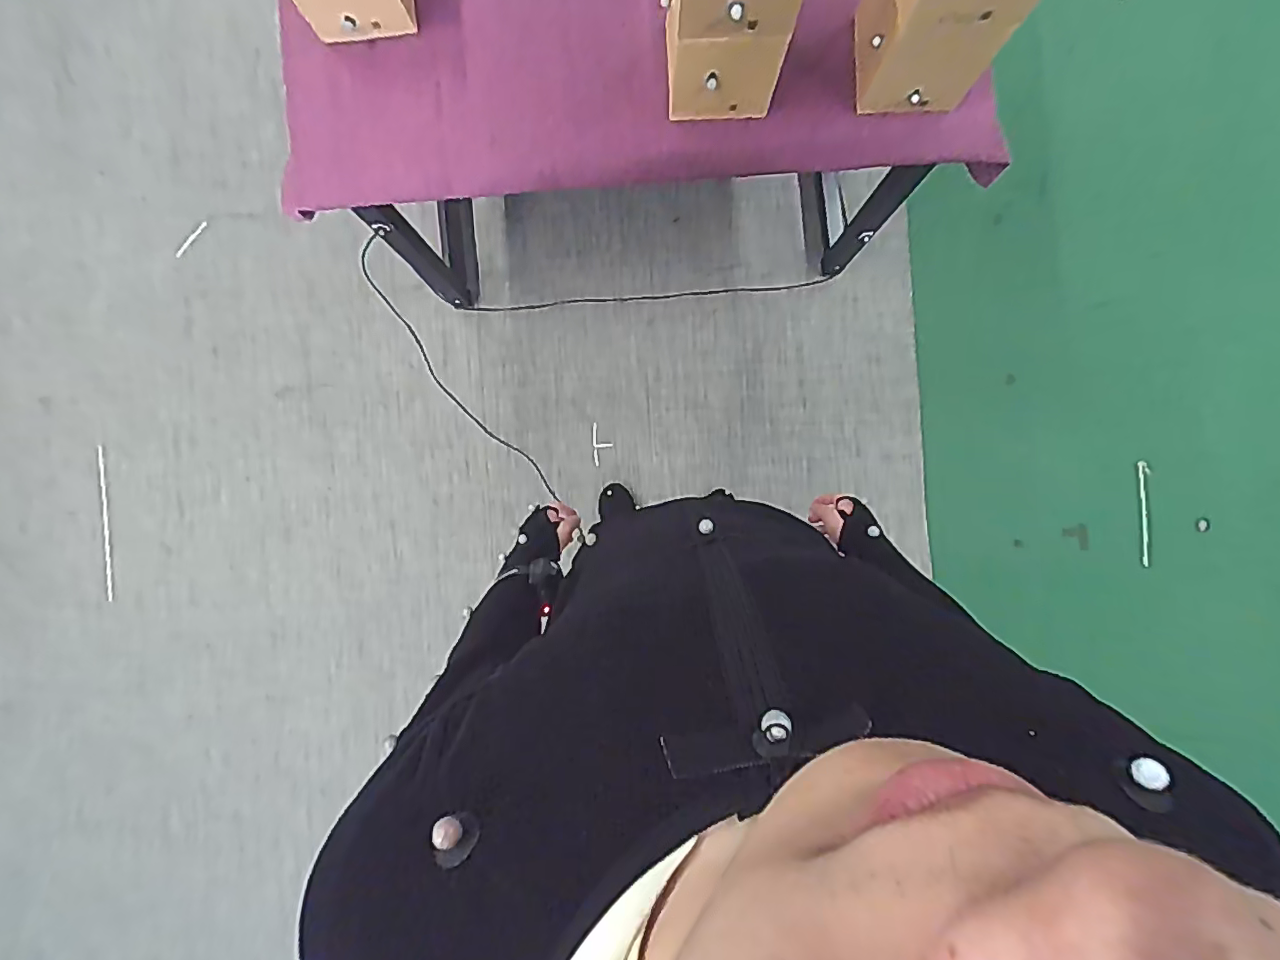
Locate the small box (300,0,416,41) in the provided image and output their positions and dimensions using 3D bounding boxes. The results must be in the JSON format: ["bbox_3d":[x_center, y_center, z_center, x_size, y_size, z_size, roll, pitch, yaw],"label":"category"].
[{"bbox_3d":[-0.475,-0.851,0.854,0.168,0.176,0.179,-7,90,1],"label":"small box"}]

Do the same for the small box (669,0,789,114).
[{"bbox_3d":[0.131,-0.706,0.846,0.168,0.176,0.179,-2,88,1],"label":"small box"}]

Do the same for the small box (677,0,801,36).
[{"bbox_3d":[0.131,-0.714,0.682,0.168,0.176,0.179,-1,89,1],"label":"small box"}]

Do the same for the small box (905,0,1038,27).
[{"bbox_3d":[0.447,-0.721,0.675,0.168,0.176,0.179,0,88,2],"label":"small box"}]
